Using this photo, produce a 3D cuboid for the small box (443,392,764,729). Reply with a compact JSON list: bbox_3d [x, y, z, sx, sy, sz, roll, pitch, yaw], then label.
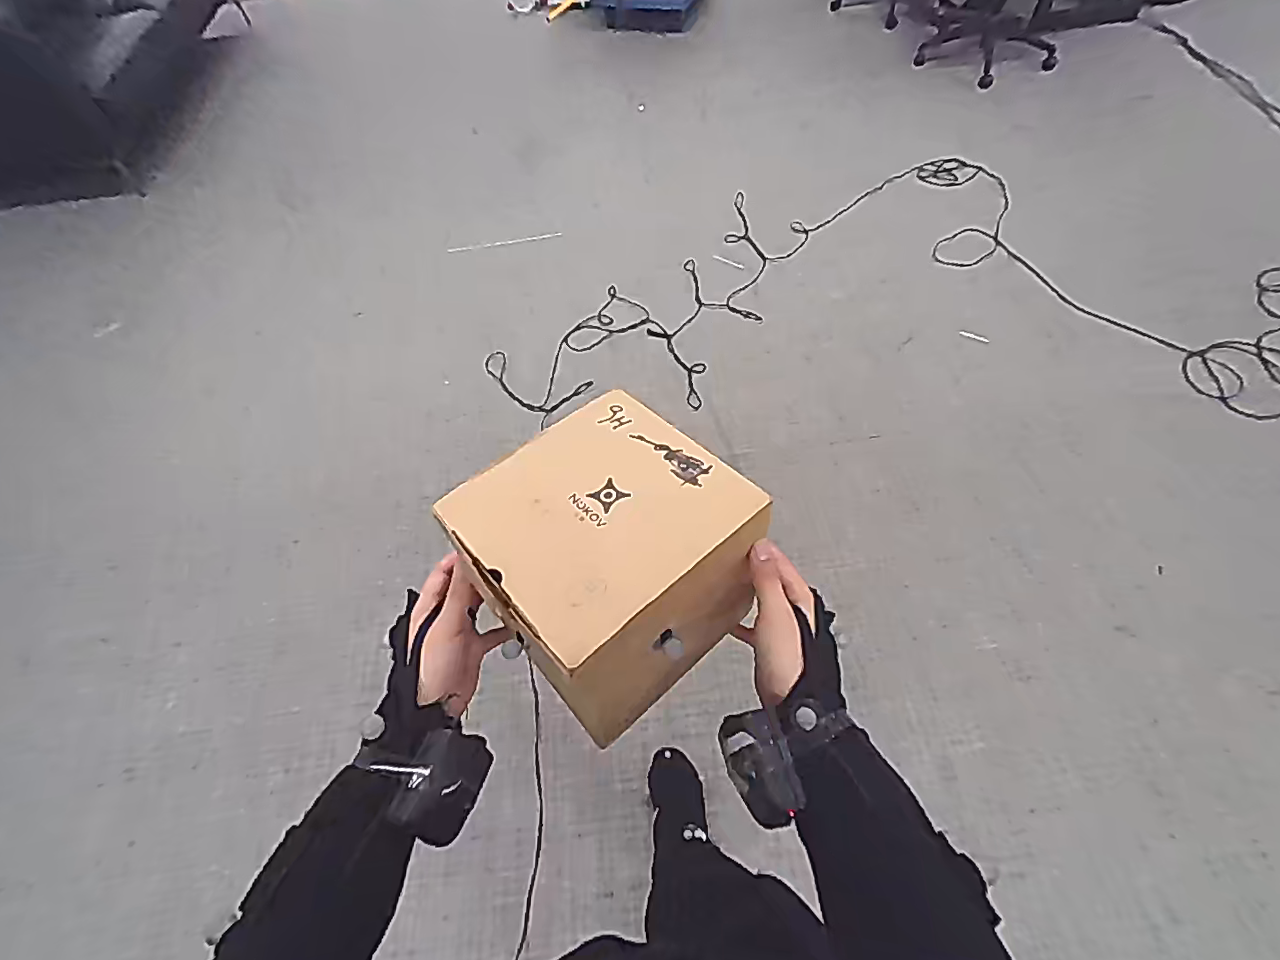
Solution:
[{"bbox_3d":[-0.021,0.067,0.443,0.179,0.176,0.168,-37,57,-22],"label":"small box"}]
